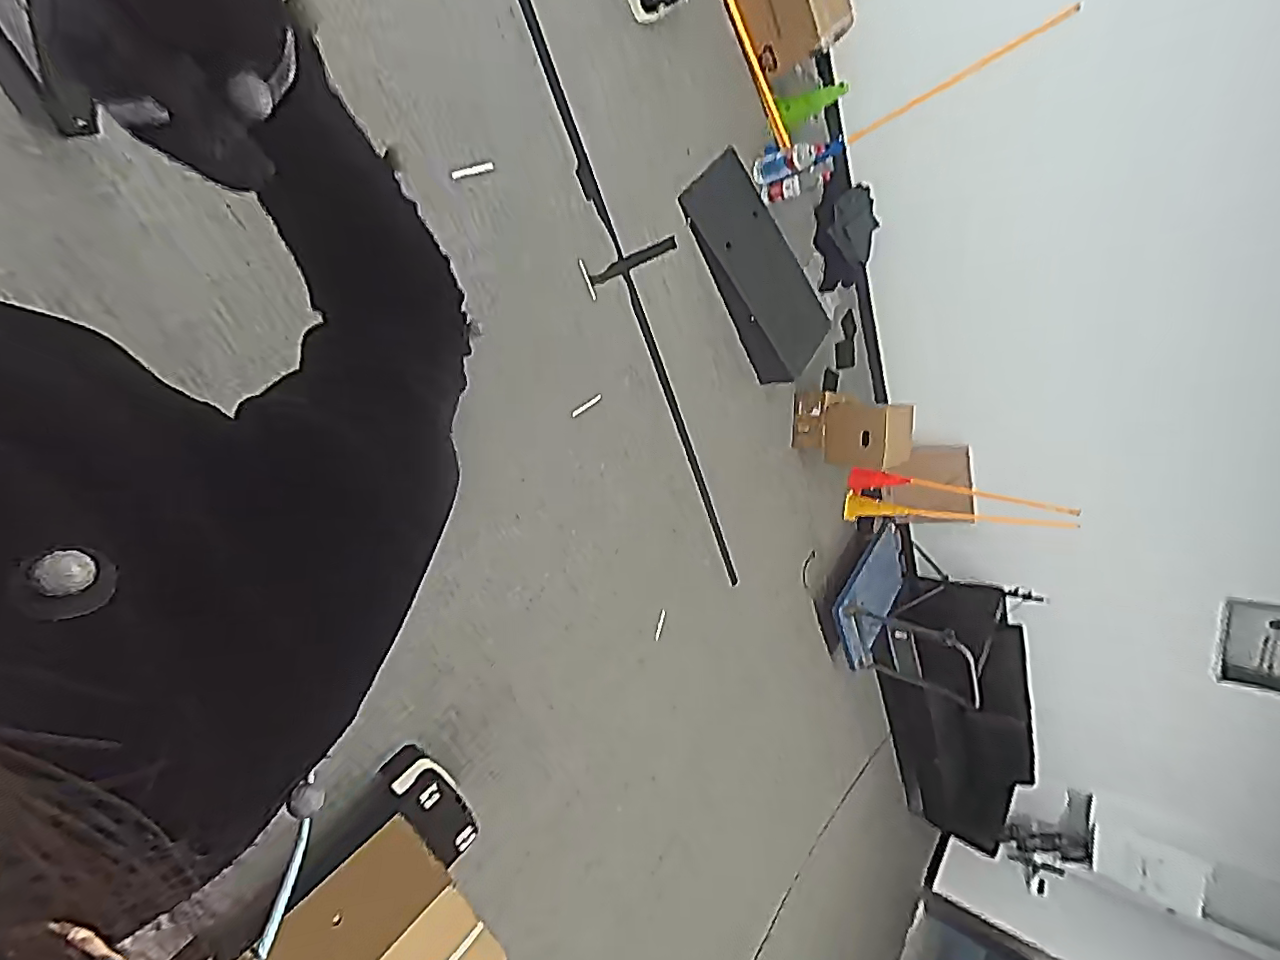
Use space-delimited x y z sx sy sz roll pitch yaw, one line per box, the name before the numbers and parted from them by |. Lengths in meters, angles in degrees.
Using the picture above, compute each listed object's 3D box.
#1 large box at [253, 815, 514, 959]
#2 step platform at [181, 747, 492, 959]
large box | -0.573 1.082 1.211 0.408 0.320 0.320 -37 119 -37
step platform | -0.726 1.051 1.394 0.684 0.204 0.286 -35 117 -38
